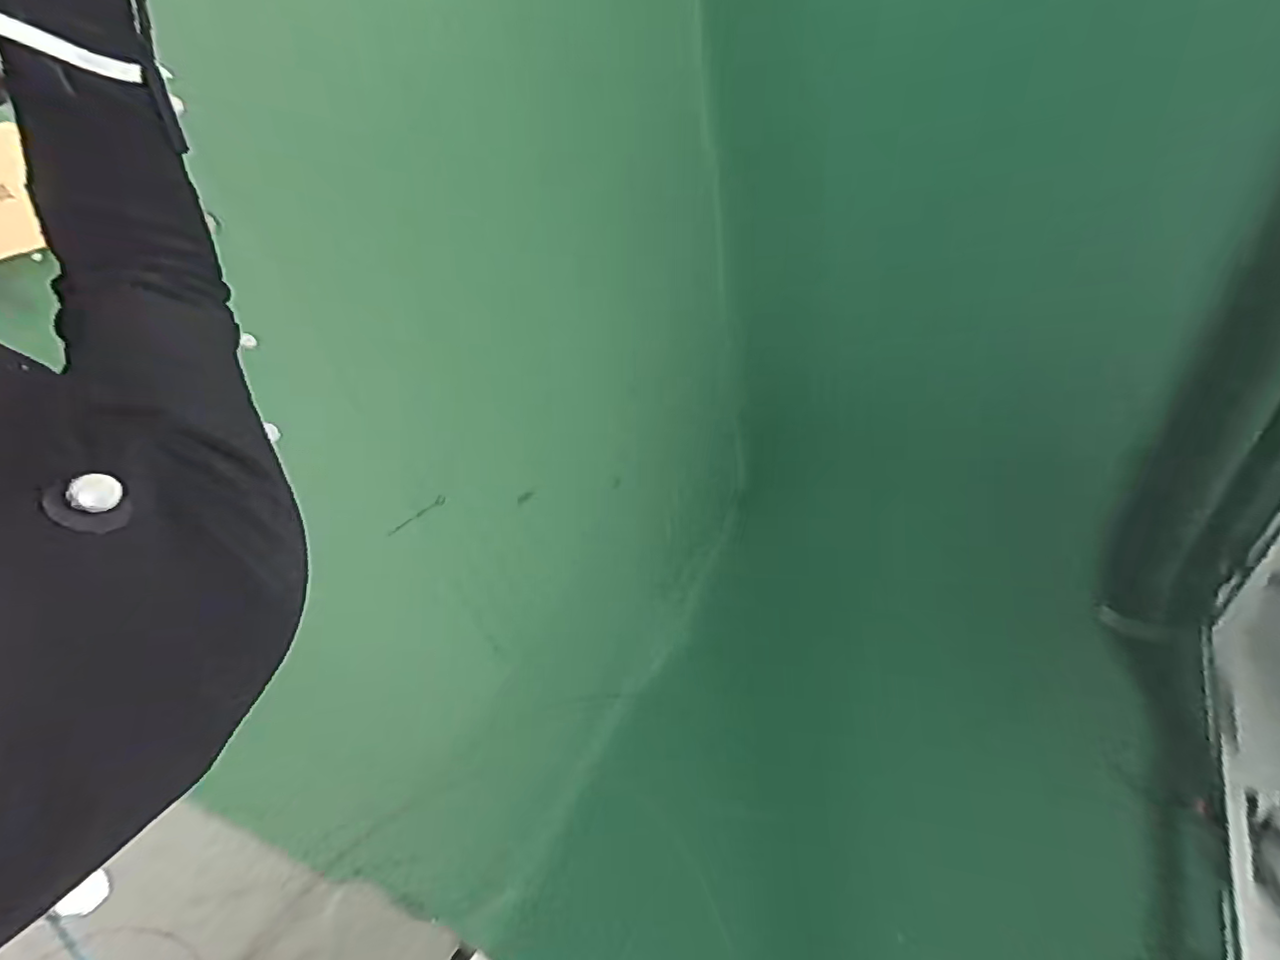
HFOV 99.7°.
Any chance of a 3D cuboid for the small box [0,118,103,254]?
[{"bbox_3d":[-1.057,-0.472,0.881,0.179,0.176,0.168,-46,138,-36],"label":"small box"}]
